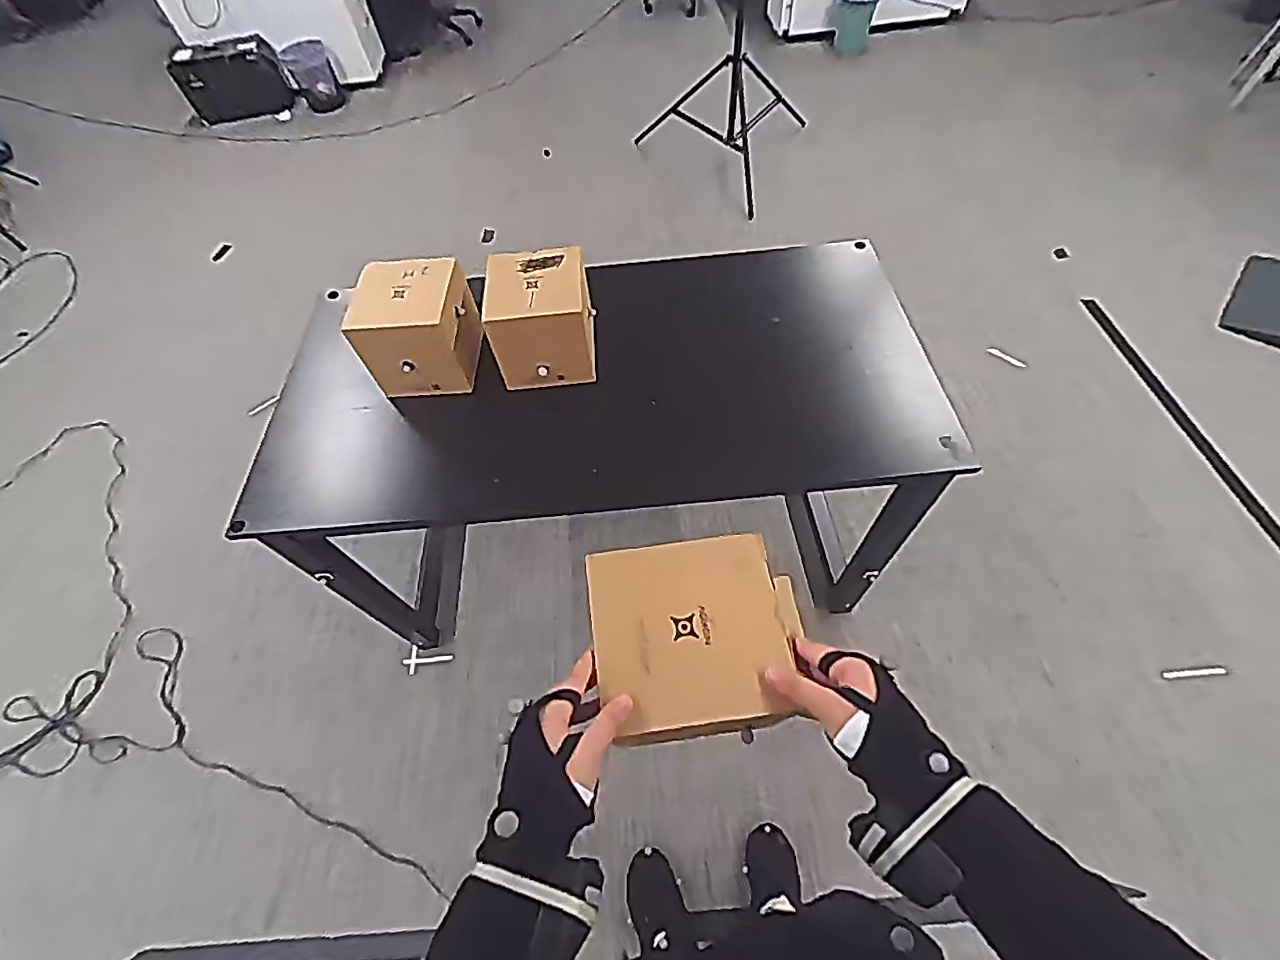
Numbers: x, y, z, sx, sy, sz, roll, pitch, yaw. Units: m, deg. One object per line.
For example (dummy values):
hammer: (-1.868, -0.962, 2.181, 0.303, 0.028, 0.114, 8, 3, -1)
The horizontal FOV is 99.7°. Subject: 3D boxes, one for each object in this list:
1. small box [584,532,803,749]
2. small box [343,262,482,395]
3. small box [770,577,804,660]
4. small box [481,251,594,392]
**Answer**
small box: (0.045, 0.172, 0.558, 0.179, 0.176, 0.168, -9, 59, -2)
small box: (-0.401, -0.268, 0.988, 0.168, 0.176, 0.179, -3, 57, 2)
small box: (0.306, 0.369, 1.390, 0.168, 0.176, 0.179, -7, 56, 1)
small box: (-0.177, -0.285, 0.982, 0.168, 0.176, 0.179, -6, 58, 1)
